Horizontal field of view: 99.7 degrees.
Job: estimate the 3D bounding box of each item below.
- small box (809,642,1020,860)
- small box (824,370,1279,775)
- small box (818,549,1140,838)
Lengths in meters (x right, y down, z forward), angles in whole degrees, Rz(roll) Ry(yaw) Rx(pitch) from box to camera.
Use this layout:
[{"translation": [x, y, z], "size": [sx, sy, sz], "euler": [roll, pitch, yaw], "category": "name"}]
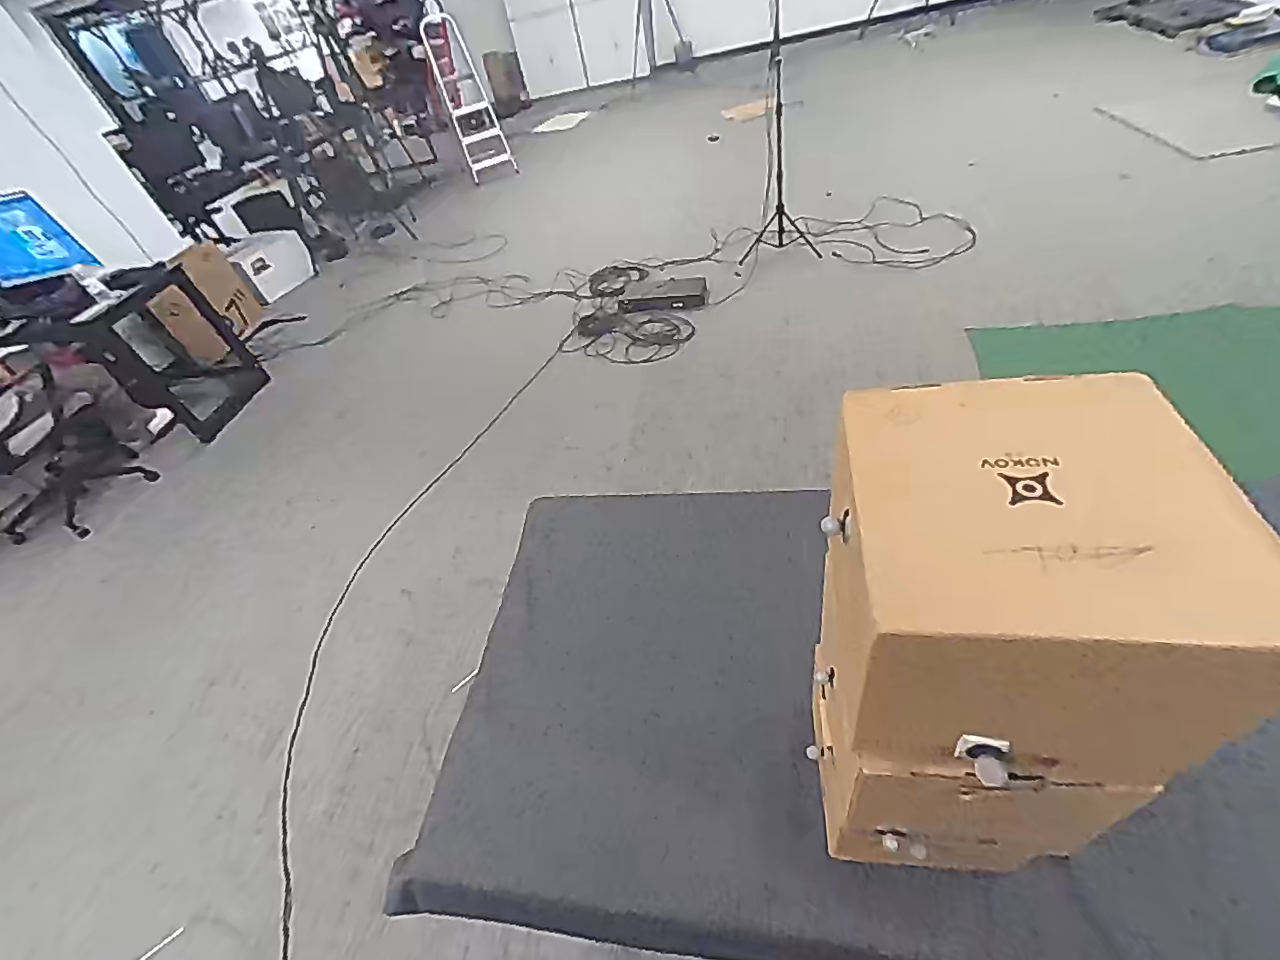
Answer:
[{"translation": [0.280, 0.280, 0.565], "size": [0.179, 0.176, 0.168], "euler": [-6, 43, 9], "category": "small box"}, {"translation": [0.207, 0.056, 0.335], "size": [0.168, 0.176, 0.179], "euler": [-3, 46, 15], "category": "small box"}, {"translation": [0.241, 0.172, 0.443], "size": [0.168, 0.176, 0.179], "euler": [-4, 44, 13], "category": "small box"}]
